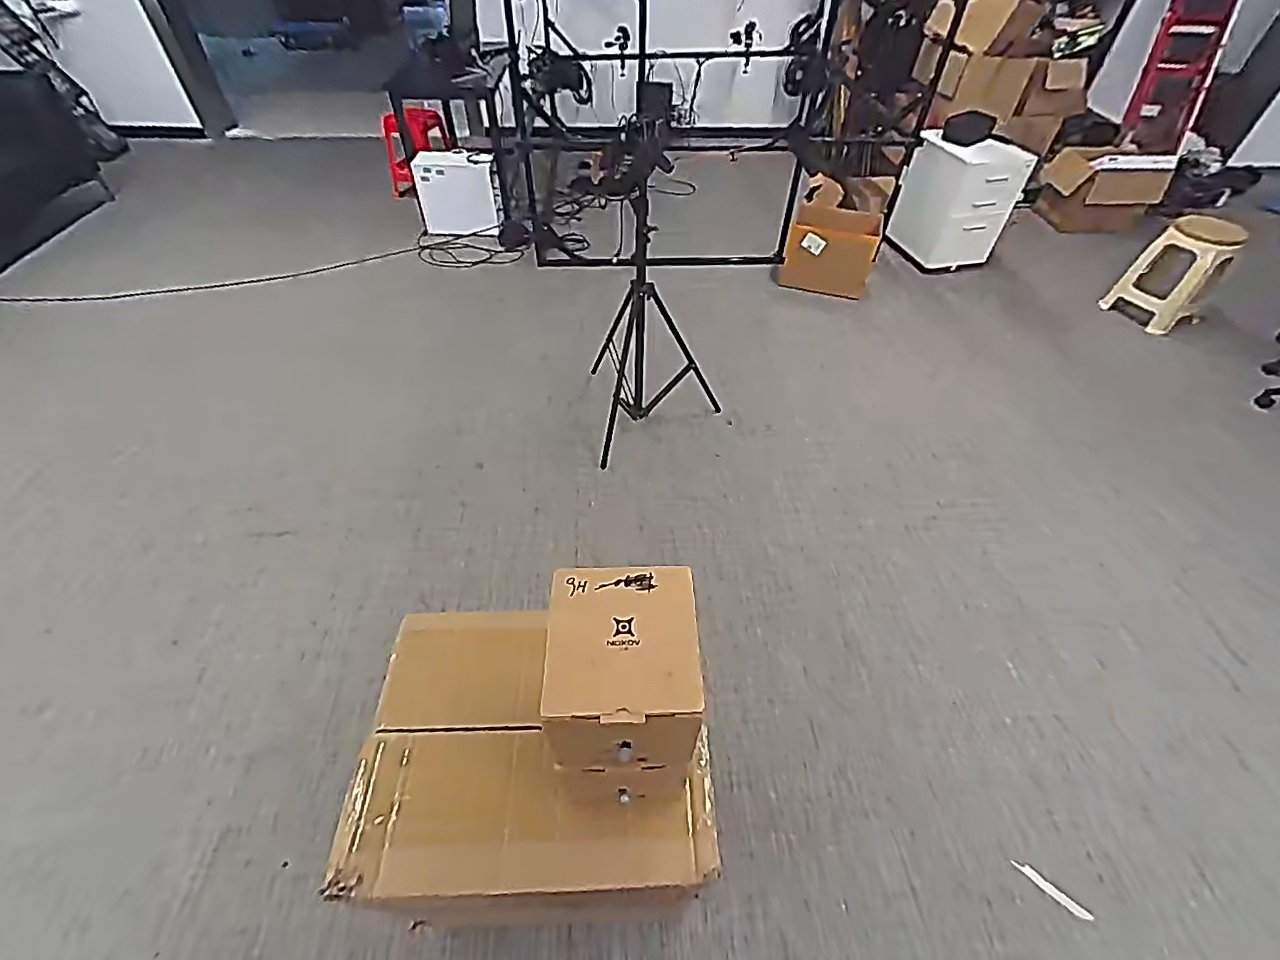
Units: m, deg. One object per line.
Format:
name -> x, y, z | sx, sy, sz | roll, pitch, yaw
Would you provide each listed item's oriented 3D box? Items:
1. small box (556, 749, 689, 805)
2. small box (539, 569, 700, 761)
small box -> -0.024, 0.340, 0.769 | 0.168, 0.176, 0.179 | -2, 48, -2
small box -> -0.020, 0.227, 0.651 | 0.168, 0.176, 0.179 | -1, 48, -1
